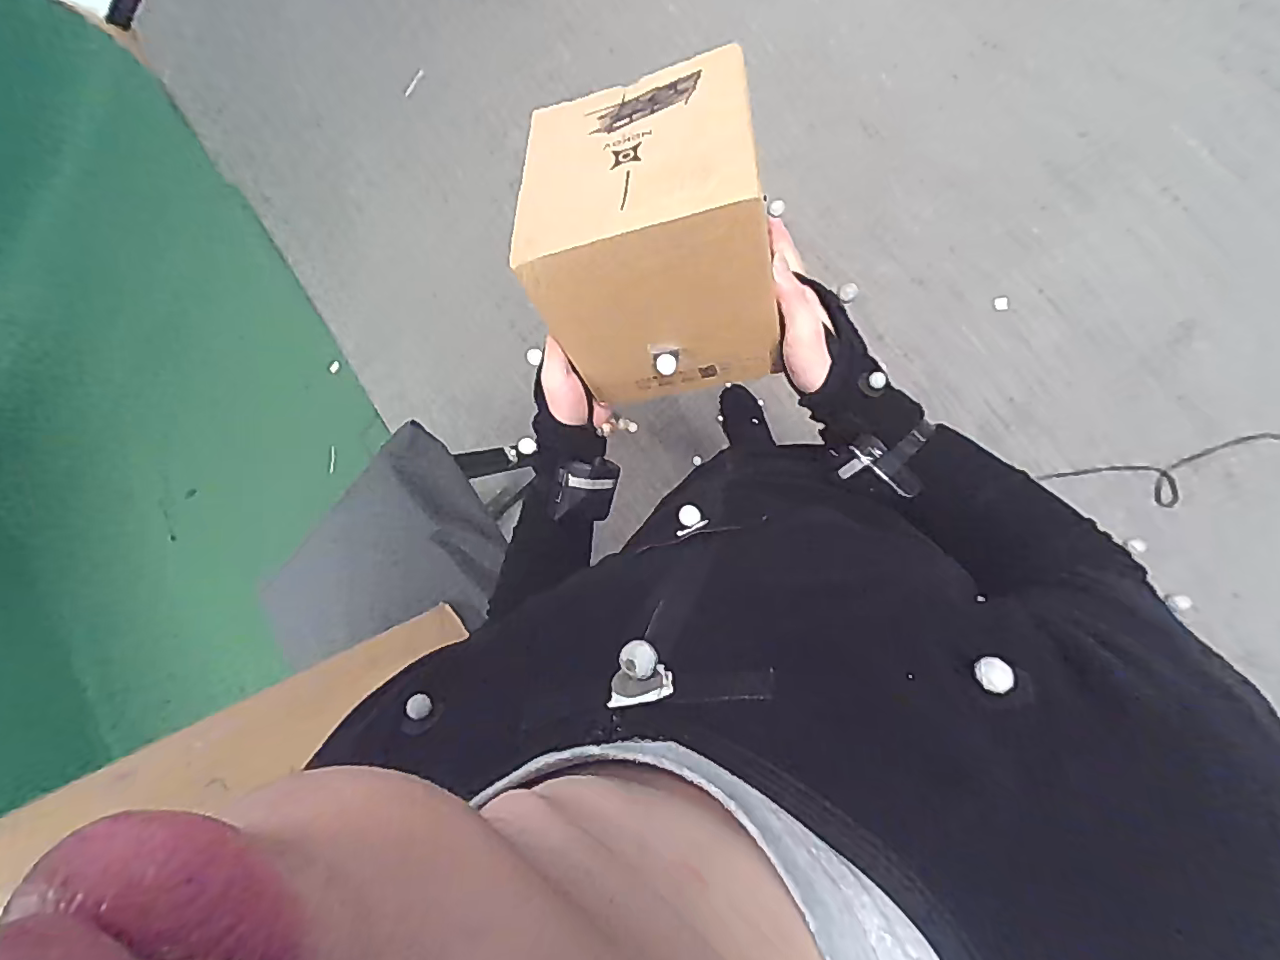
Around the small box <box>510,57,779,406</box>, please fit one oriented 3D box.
[{"bbox_3d":[0.018,-0.185,0.440,0.168,0.176,0.179,-7,61,16],"label":"small box"}]
